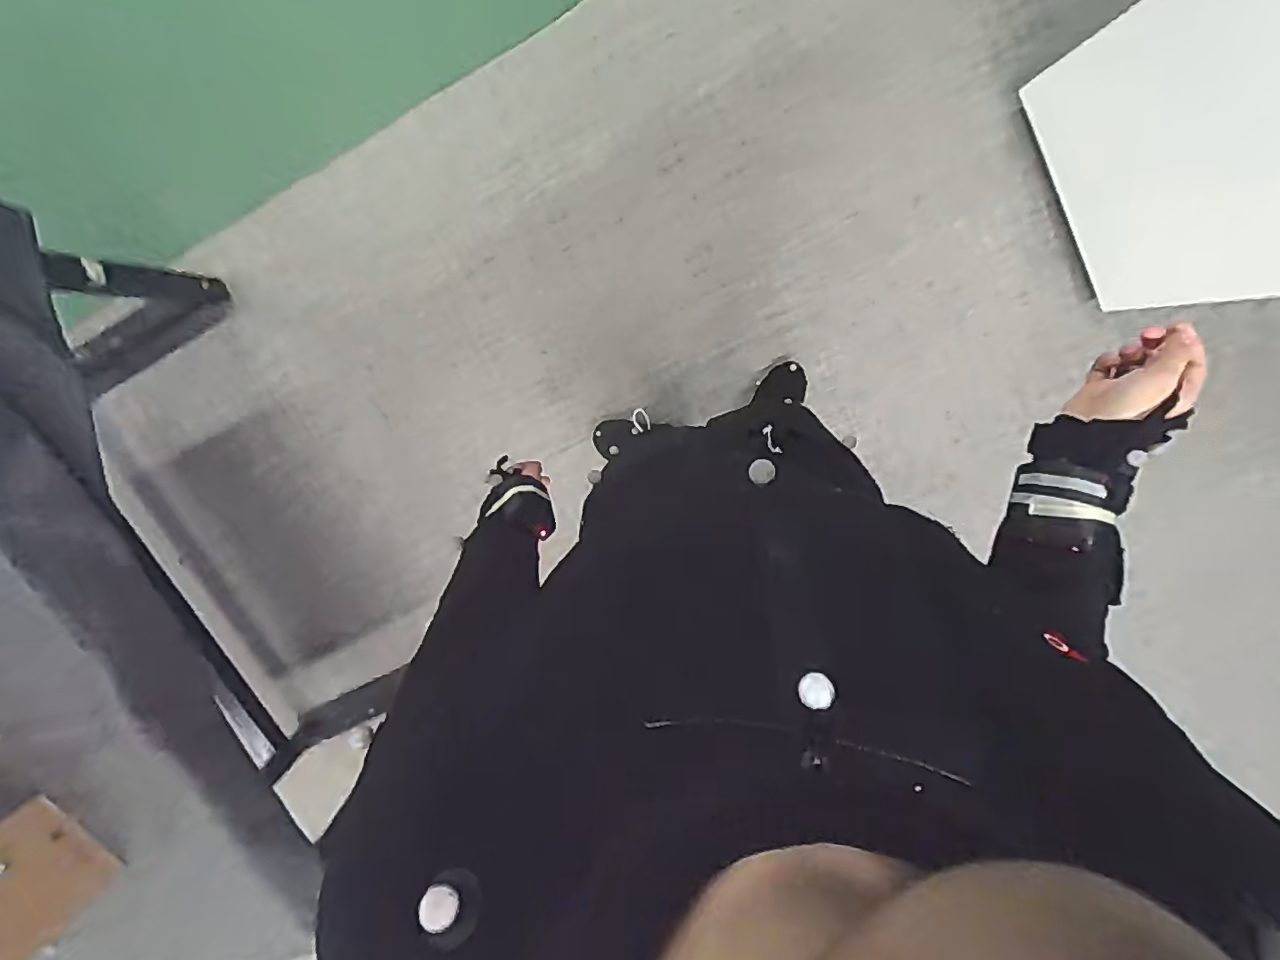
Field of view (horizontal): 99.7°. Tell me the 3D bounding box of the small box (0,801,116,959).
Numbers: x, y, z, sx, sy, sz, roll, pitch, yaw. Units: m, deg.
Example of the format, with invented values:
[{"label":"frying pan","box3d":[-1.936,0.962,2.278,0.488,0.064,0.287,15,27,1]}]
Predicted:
[{"label":"small box","box3d":[-0.880,0.583,0.728,0.179,0.176,0.168,-37,97,11]}]
